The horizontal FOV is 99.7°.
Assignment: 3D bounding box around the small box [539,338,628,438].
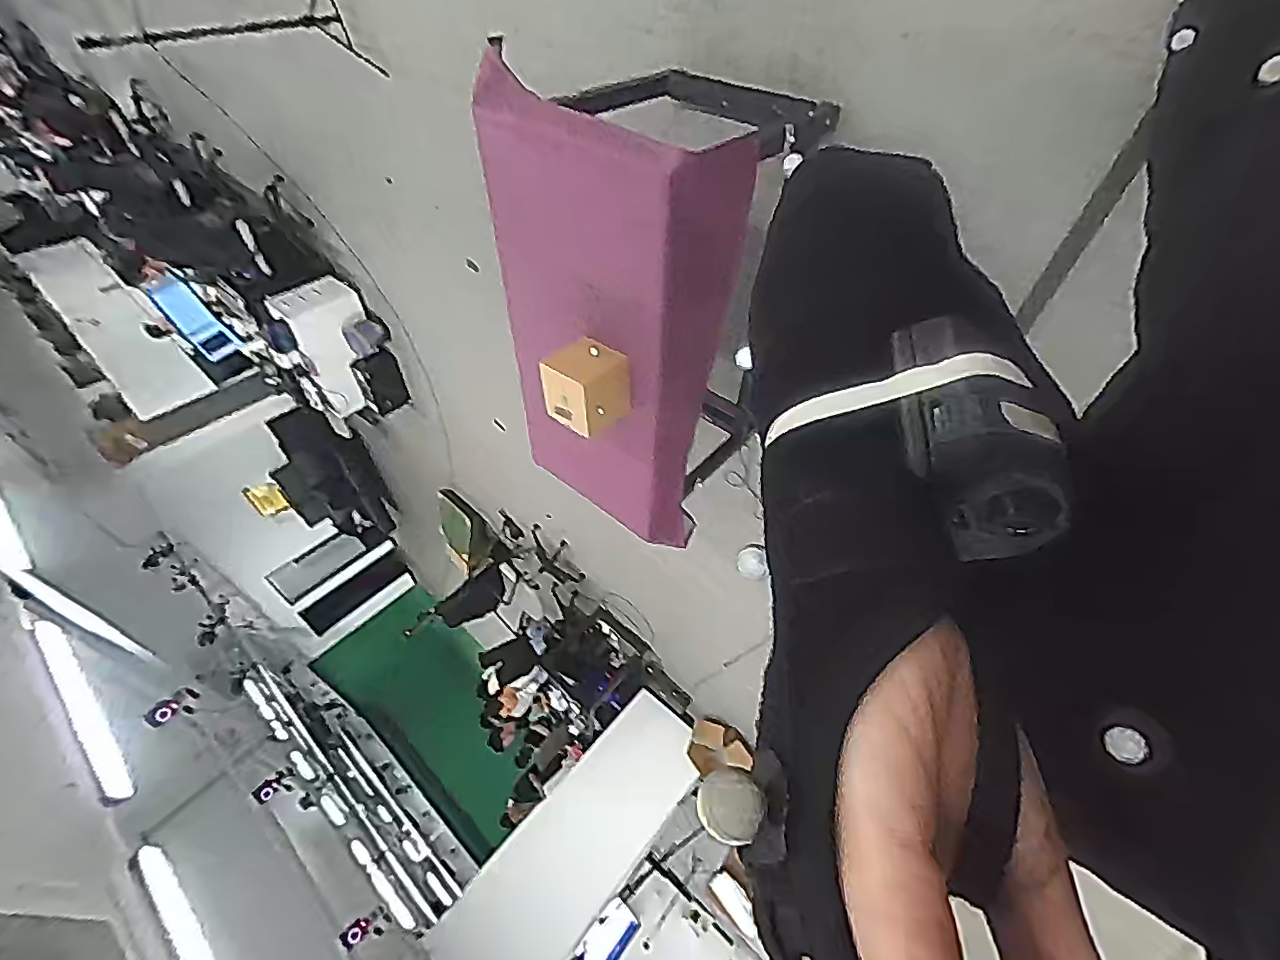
[{"bbox_3d":[-0.144,-0.250,1.454,0.168,0.176,0.179,31,144,28],"label":"small box"}]
